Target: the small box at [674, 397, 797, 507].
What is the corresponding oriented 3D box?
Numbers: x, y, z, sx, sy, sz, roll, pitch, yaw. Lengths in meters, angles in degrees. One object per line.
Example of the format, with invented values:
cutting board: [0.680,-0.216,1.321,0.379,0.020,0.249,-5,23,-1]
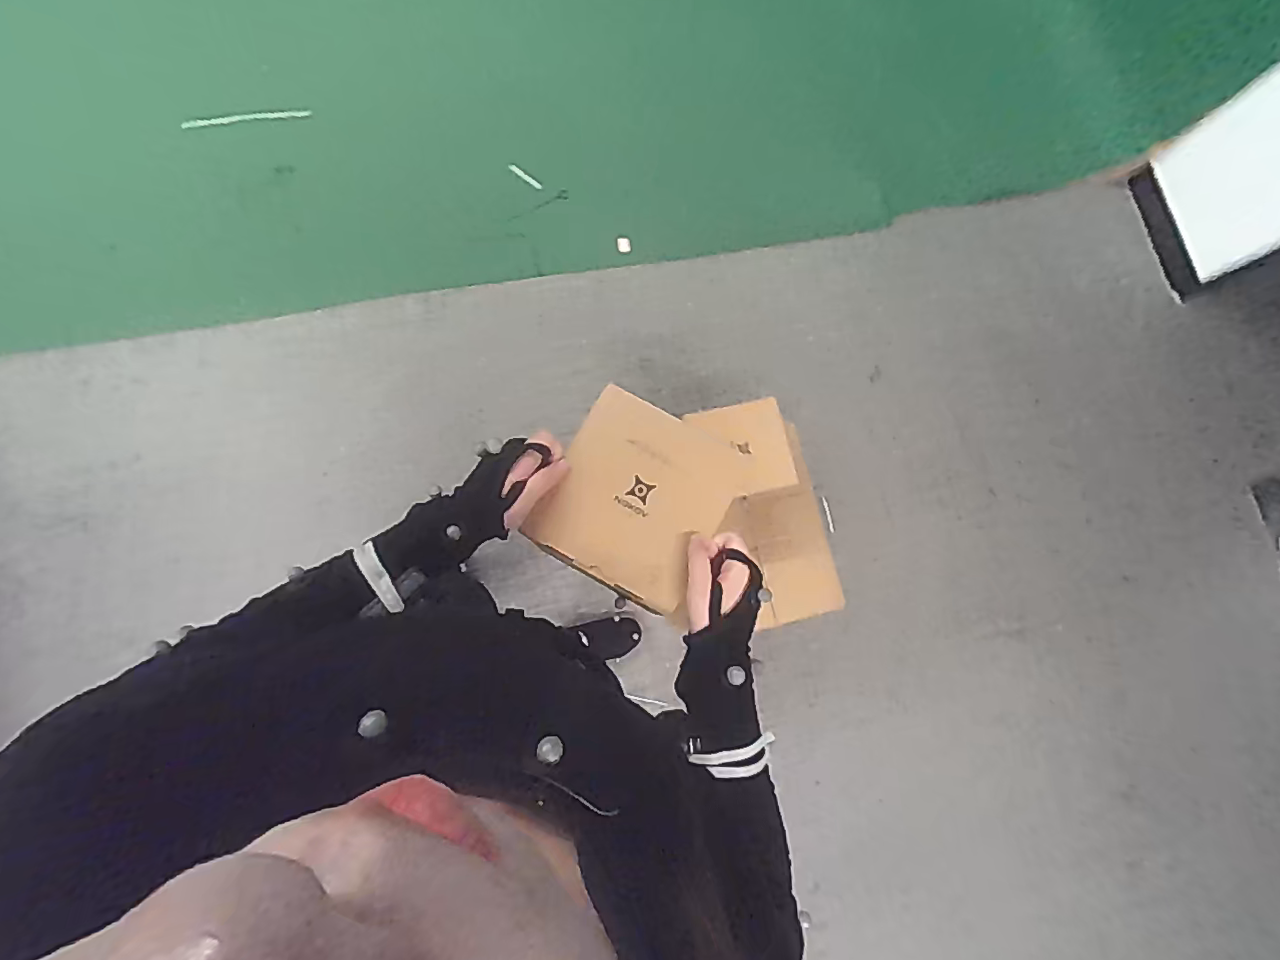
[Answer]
small box: [0.174,-0.048,1.039,0.179,0.176,0.168,-12,84,-5]
